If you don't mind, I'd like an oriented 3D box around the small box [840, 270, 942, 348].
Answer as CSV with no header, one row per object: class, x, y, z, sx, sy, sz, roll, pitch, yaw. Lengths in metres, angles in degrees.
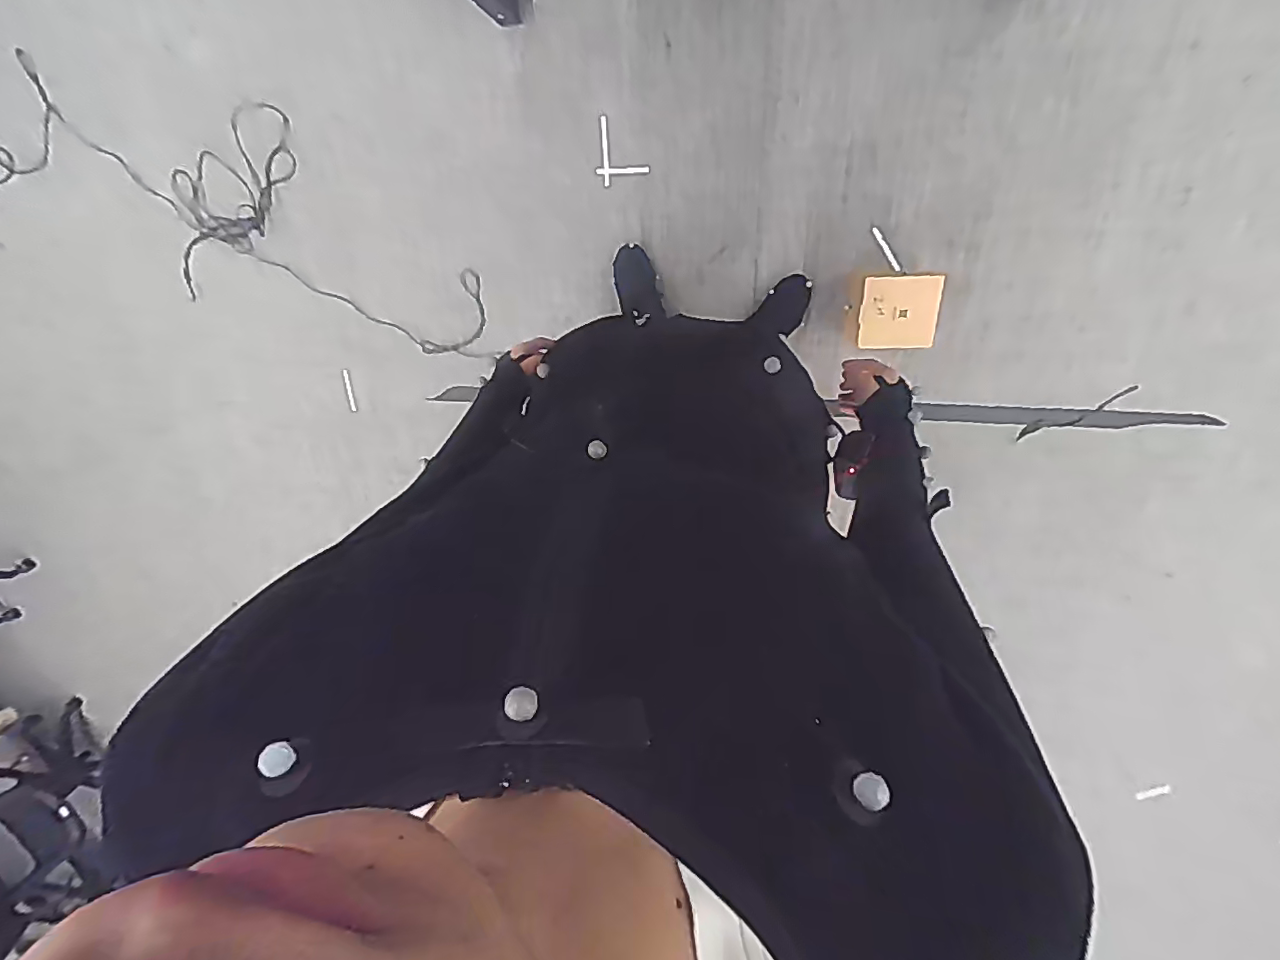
small box,0.613,-0.428,1.343,0.179,0.176,0.168,2,115,8
